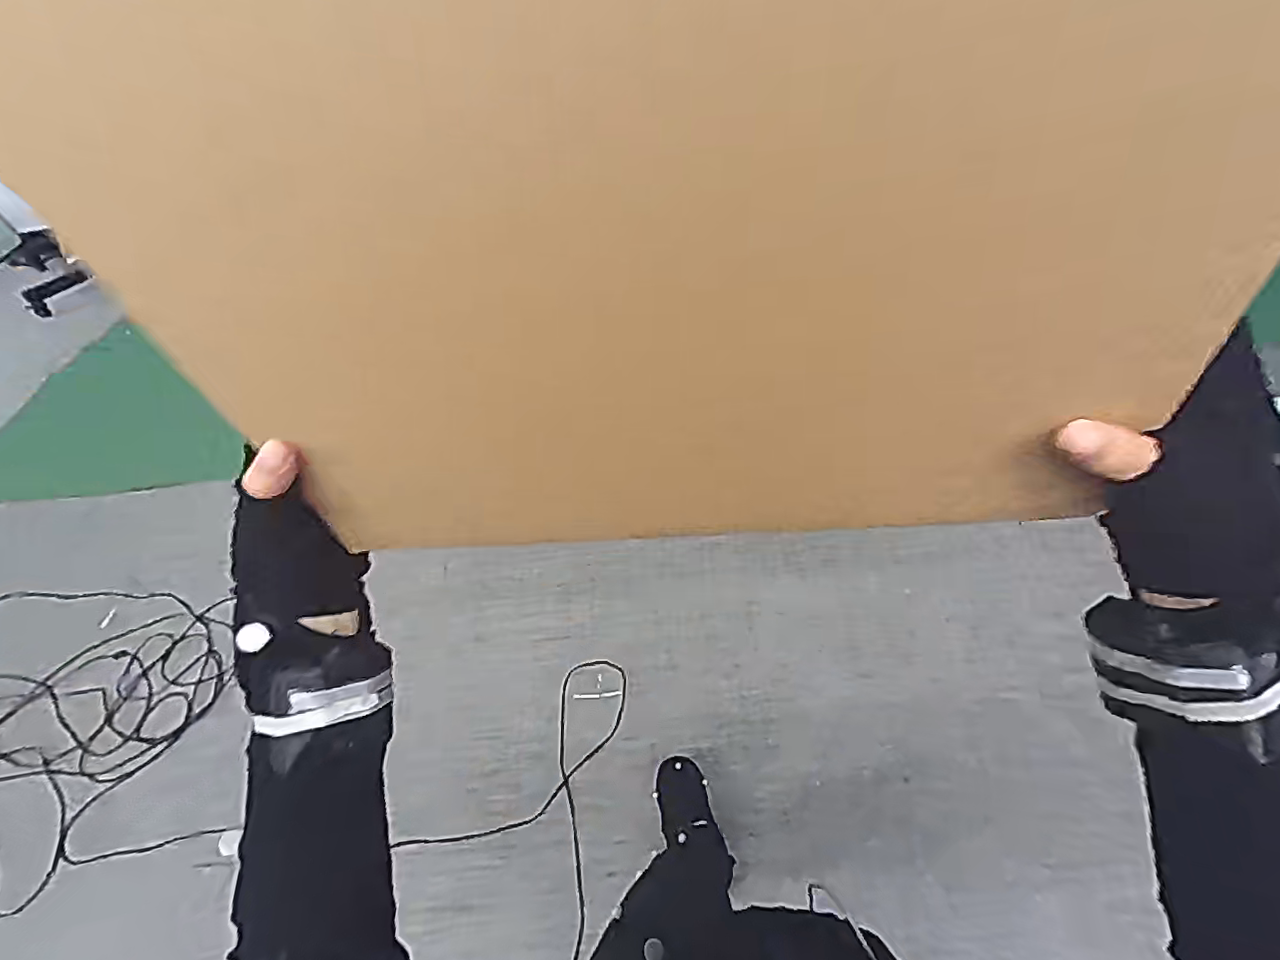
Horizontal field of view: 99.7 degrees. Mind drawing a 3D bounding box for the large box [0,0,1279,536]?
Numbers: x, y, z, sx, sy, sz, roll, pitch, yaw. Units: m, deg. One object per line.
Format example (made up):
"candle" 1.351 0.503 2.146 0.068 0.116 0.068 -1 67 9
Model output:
"large box" 0.020 -0.188 0.292 0.408 0.320 0.320 -3 47 8
